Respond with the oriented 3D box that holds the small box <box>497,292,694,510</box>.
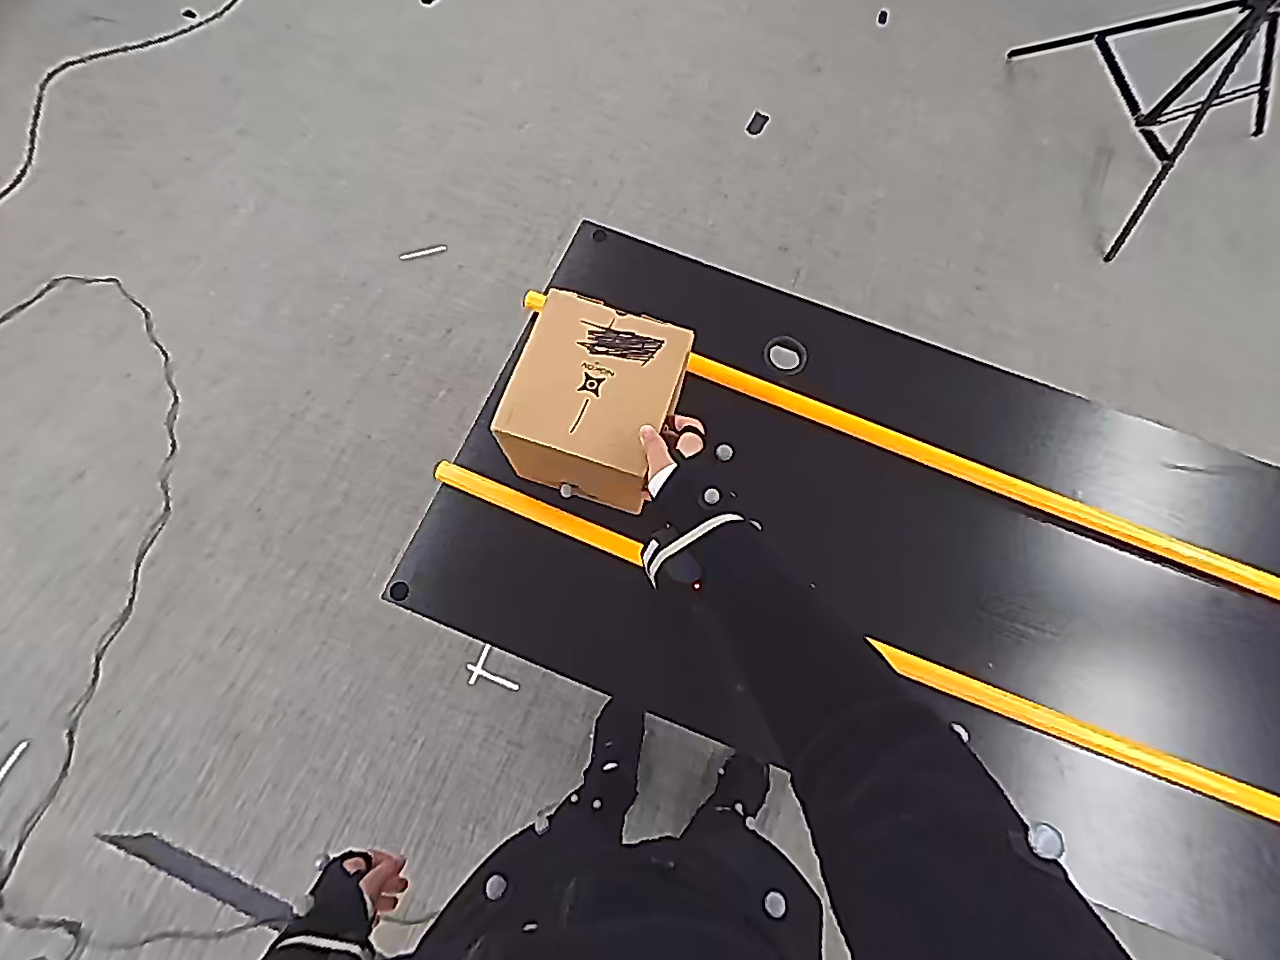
[{"bbox_3d":[-0.048,-0.083,0.645,0.168,0.176,0.179,18,74,3],"label":"small box"}]
